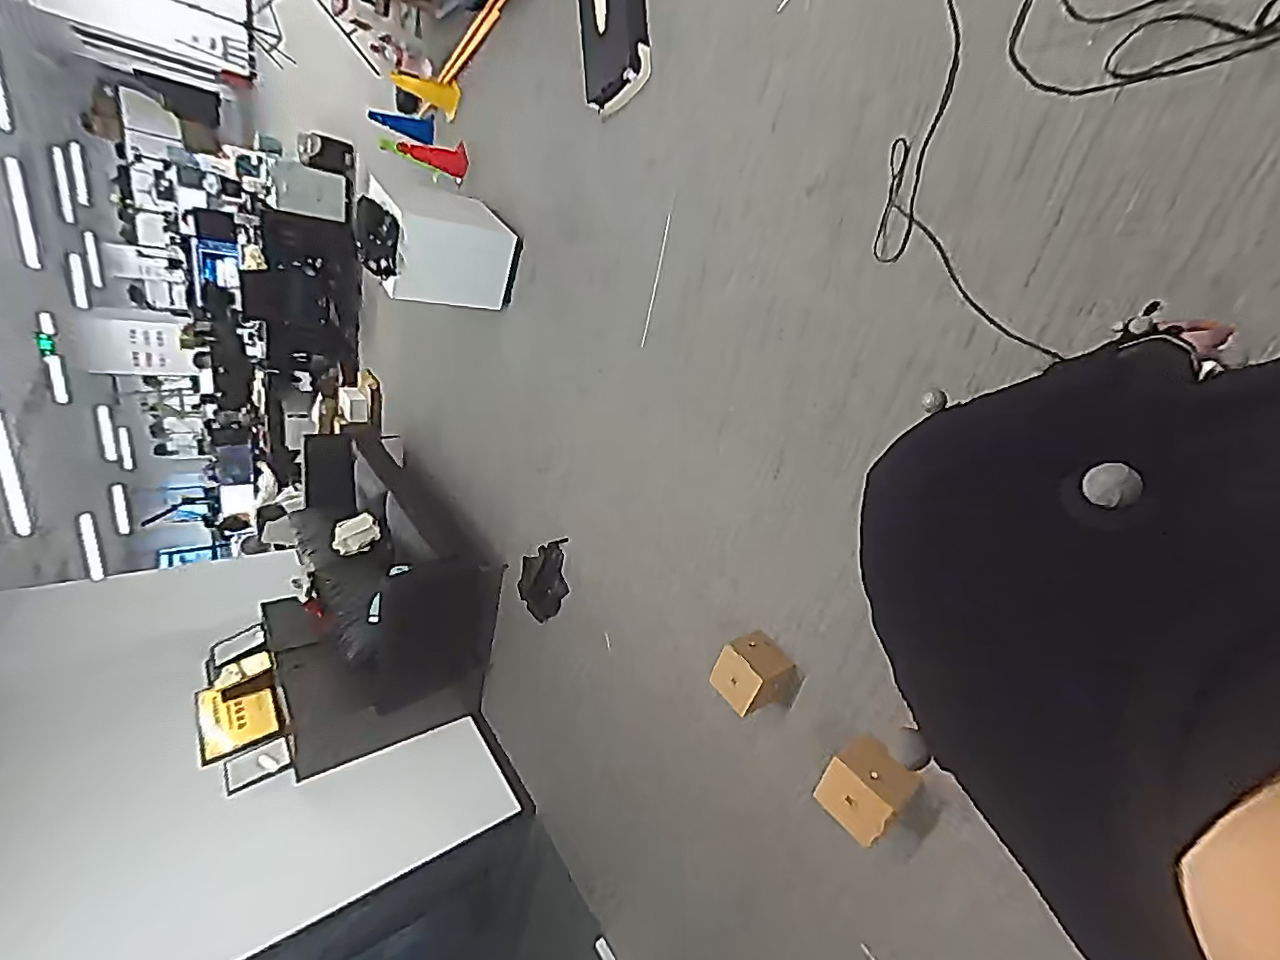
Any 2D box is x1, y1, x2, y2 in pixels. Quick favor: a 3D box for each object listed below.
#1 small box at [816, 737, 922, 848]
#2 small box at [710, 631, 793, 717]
[{"bbox_3d":[0.616,0.825,1.454,0.179,0.176,0.168,36,121,41],"label":"small box"},{"bbox_3d":[0.361,0.613,1.729,0.168,0.176,0.179,42,126,40],"label":"small box"}]
